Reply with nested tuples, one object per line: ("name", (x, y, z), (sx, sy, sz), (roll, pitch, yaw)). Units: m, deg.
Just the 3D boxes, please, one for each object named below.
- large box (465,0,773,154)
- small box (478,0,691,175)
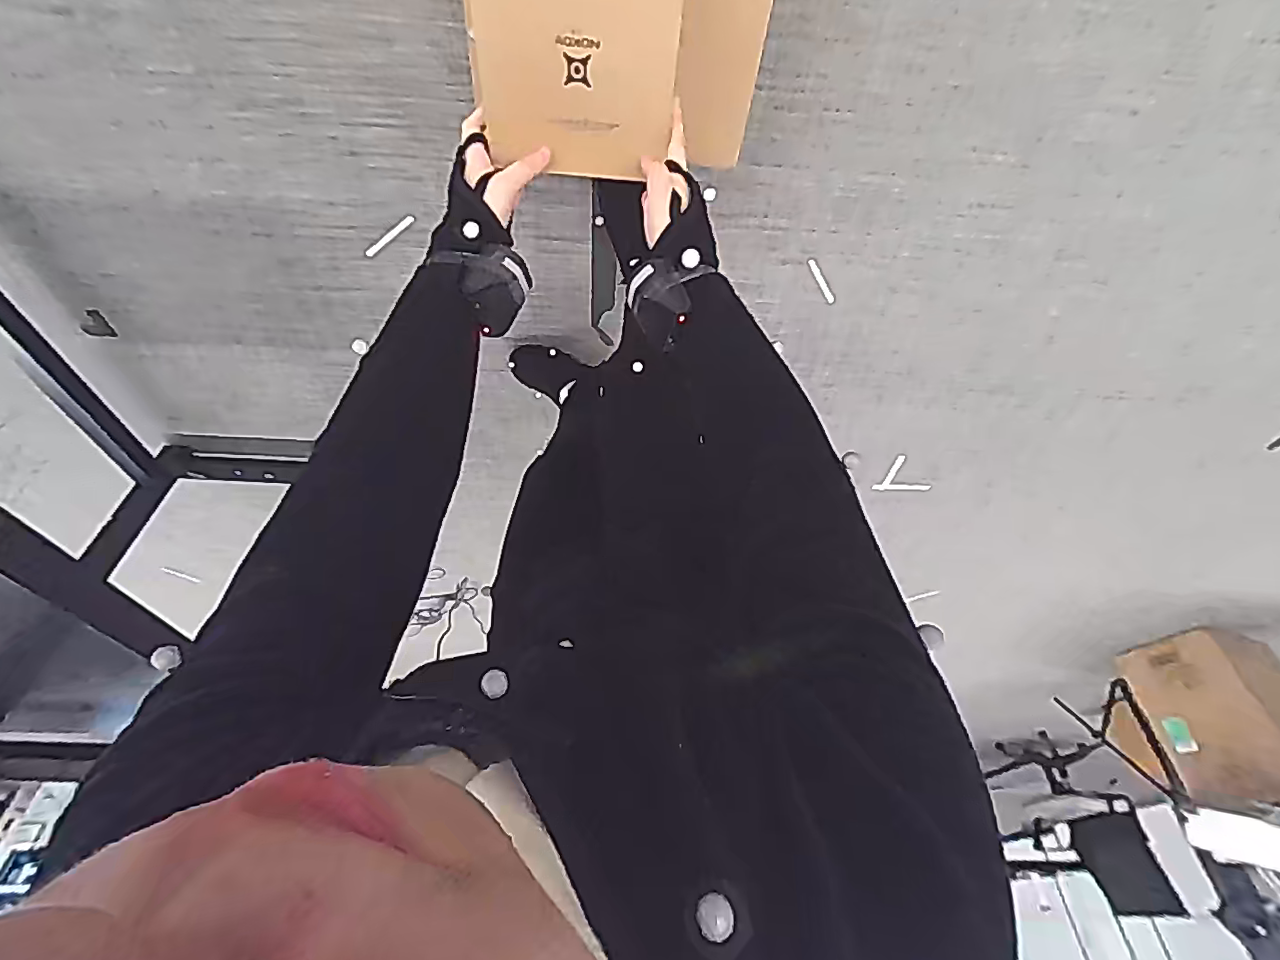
("large box", (-0.013, -0.639, 0.588), (0.320, 0.320, 0.408), (3, 140, -5))
("small box", (-0.044, -0.408, 0.486), (0.168, 0.176, 0.179), (4, 142, -2))
